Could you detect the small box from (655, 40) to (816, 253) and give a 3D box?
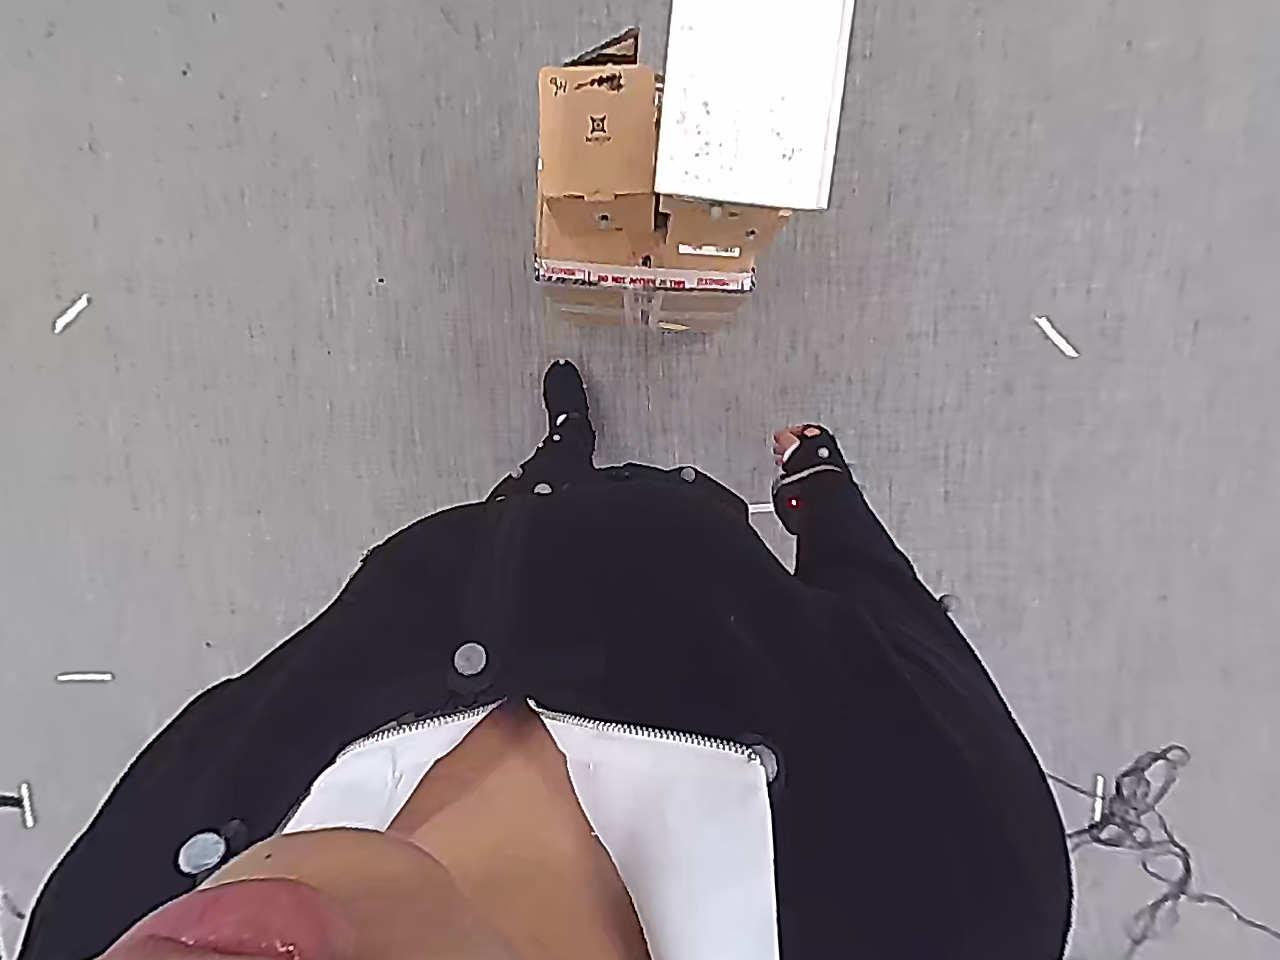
[{"bbox_3d":[0.112,-0.419,0.710,0.168,0.176,0.179,5,98,-3],"label":"small box"}]
